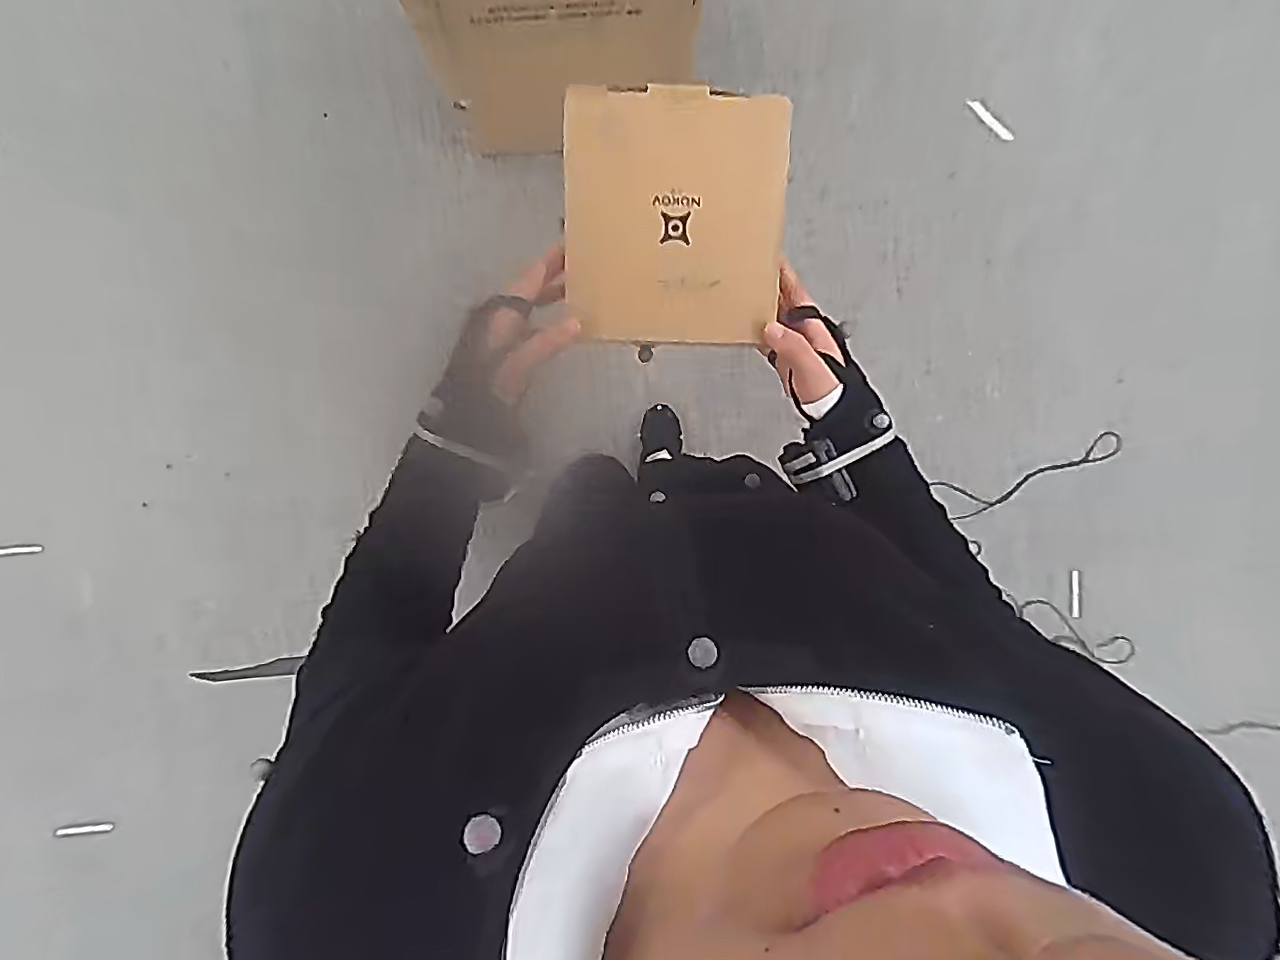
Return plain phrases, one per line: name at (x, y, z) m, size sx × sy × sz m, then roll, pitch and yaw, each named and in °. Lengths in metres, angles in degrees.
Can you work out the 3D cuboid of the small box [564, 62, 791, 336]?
small box at (0.020, -0.223, 0.478) m, size 0.168 × 0.176 × 0.179 m, roll 1°, pitch 104°, yaw -4°
